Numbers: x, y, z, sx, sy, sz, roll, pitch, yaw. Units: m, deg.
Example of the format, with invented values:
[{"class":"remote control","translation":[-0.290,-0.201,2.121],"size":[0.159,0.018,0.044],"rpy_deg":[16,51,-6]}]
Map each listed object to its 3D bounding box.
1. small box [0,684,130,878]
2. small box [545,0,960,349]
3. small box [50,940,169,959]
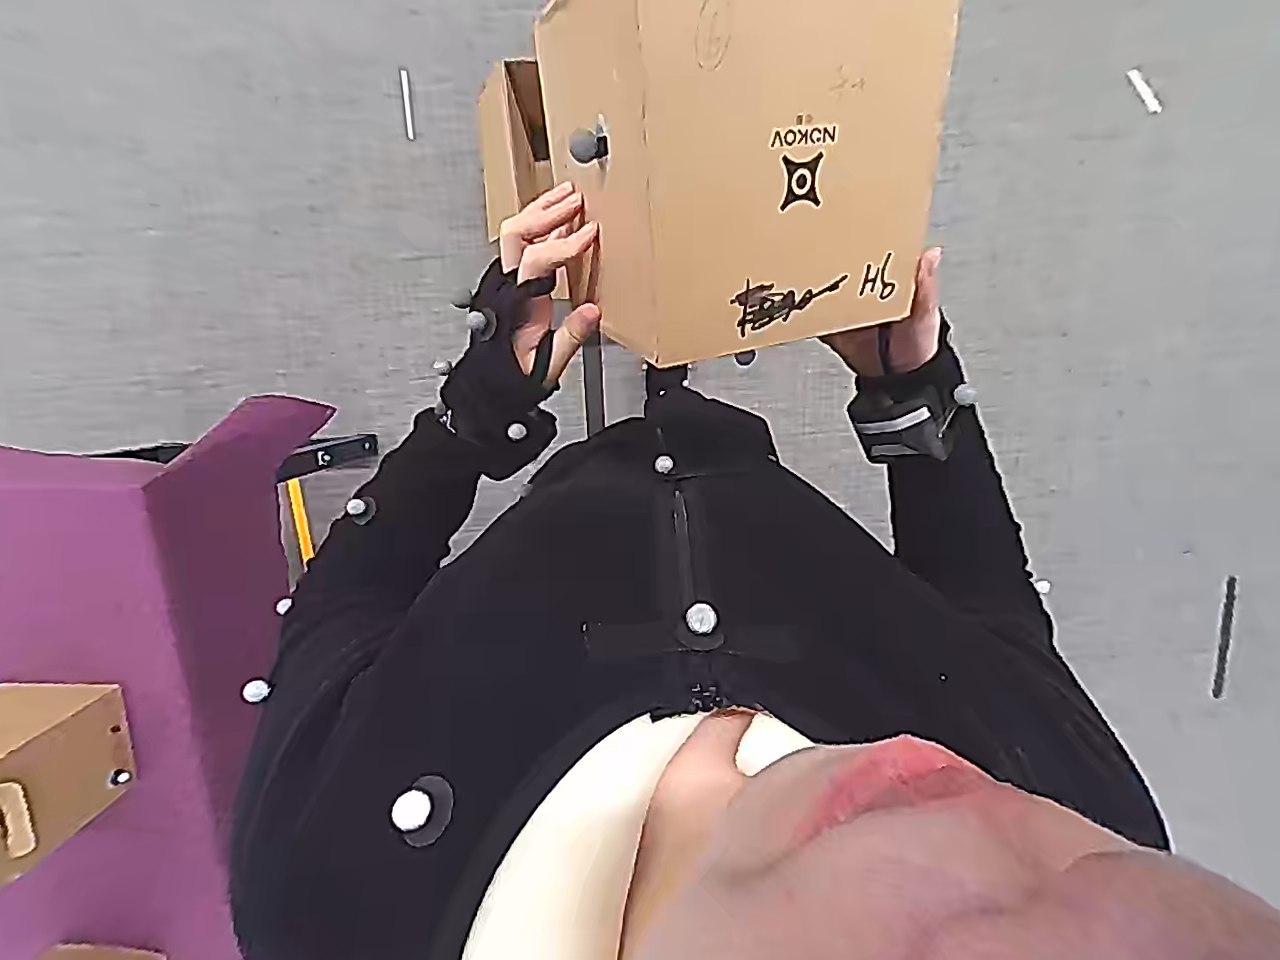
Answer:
[{"class":"small box","translation":[-0.845,0.394,0.730],"size":[0.179,0.176,0.168],"rpy_deg":[1,101,0]},{"class":"small box","translation":[0.049,-0.191,0.323],"size":[0.168,0.176,0.179],"rpy_deg":[-14,119,-17]},{"class":"small box","translation":[-0.865,0.850,0.818],"size":[0.179,0.176,0.168],"rpy_deg":[9,100,-2]}]
